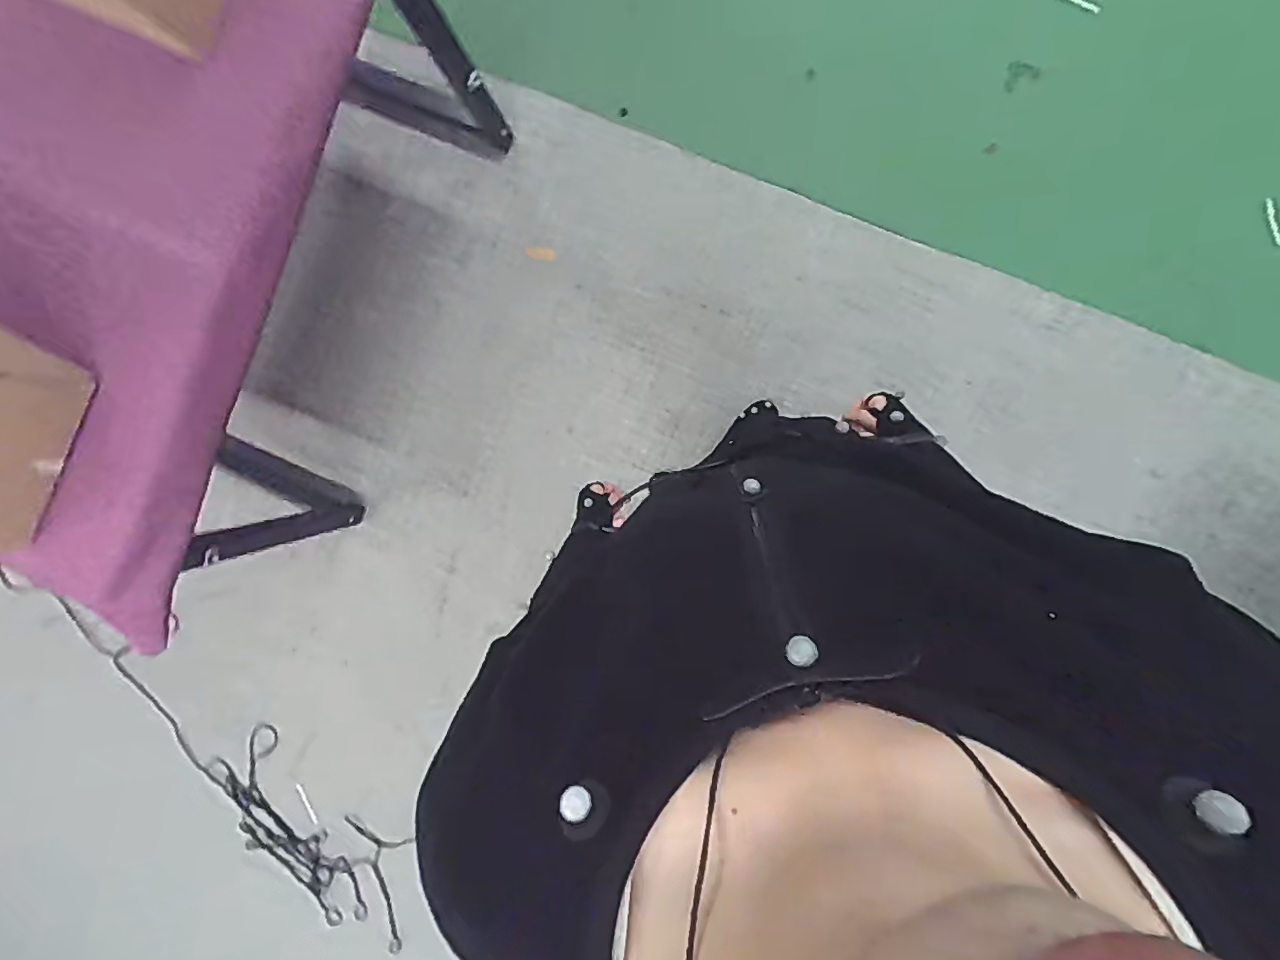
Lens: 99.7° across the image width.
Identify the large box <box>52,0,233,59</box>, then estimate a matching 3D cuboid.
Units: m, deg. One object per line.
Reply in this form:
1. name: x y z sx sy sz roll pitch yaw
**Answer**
1. large box: -0.764 -0.810 0.635 0.408 0.320 0.320 23 98 2
